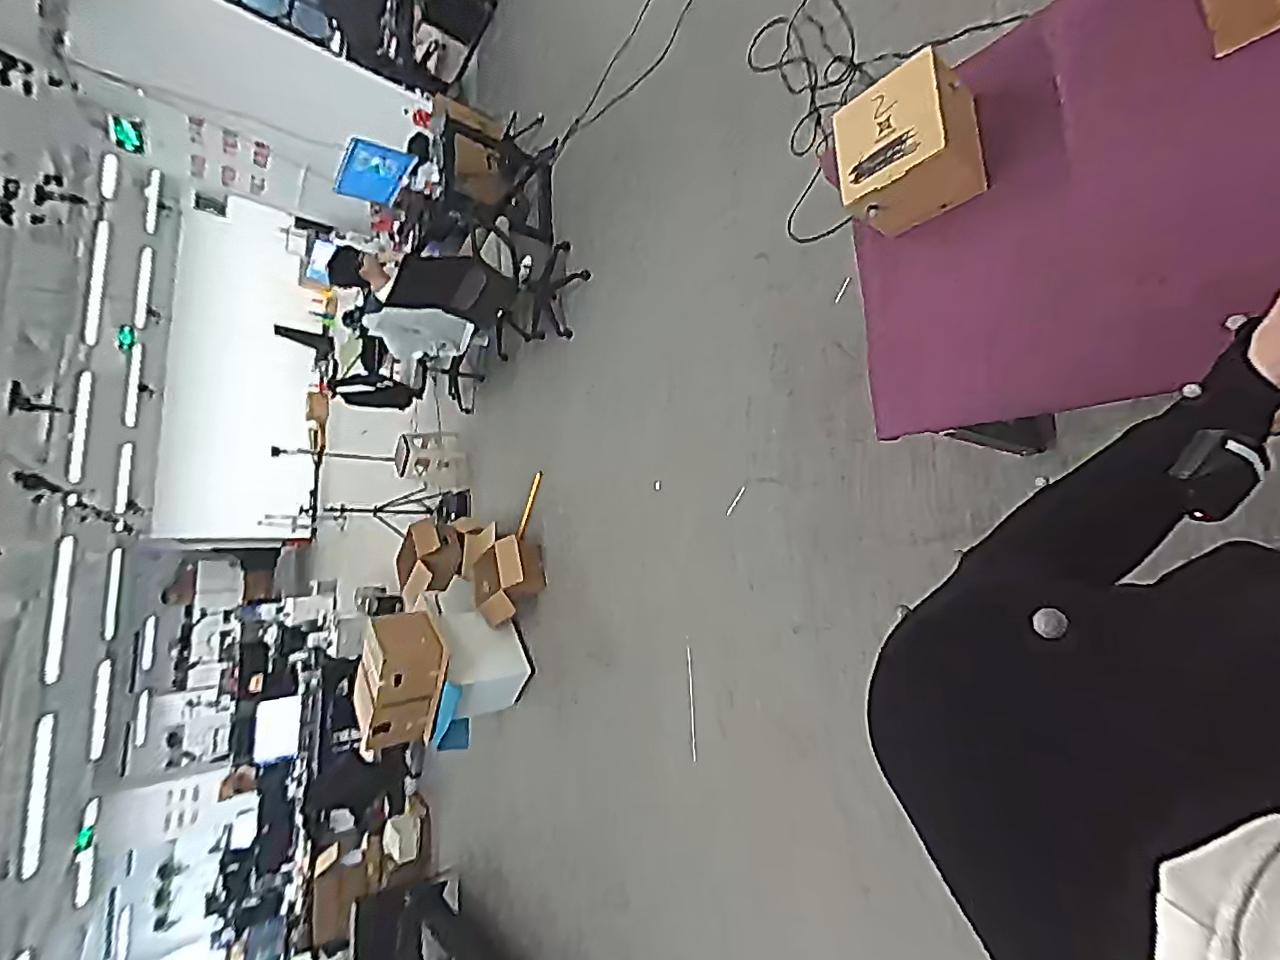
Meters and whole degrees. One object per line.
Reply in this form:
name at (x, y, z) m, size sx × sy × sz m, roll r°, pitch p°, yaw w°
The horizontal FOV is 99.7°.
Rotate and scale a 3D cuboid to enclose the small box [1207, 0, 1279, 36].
small box at (0.730, -0.655, 0.591) m, size 0.168 × 0.176 × 0.179 m, roll -8°, pitch 82°, yaw 52°
